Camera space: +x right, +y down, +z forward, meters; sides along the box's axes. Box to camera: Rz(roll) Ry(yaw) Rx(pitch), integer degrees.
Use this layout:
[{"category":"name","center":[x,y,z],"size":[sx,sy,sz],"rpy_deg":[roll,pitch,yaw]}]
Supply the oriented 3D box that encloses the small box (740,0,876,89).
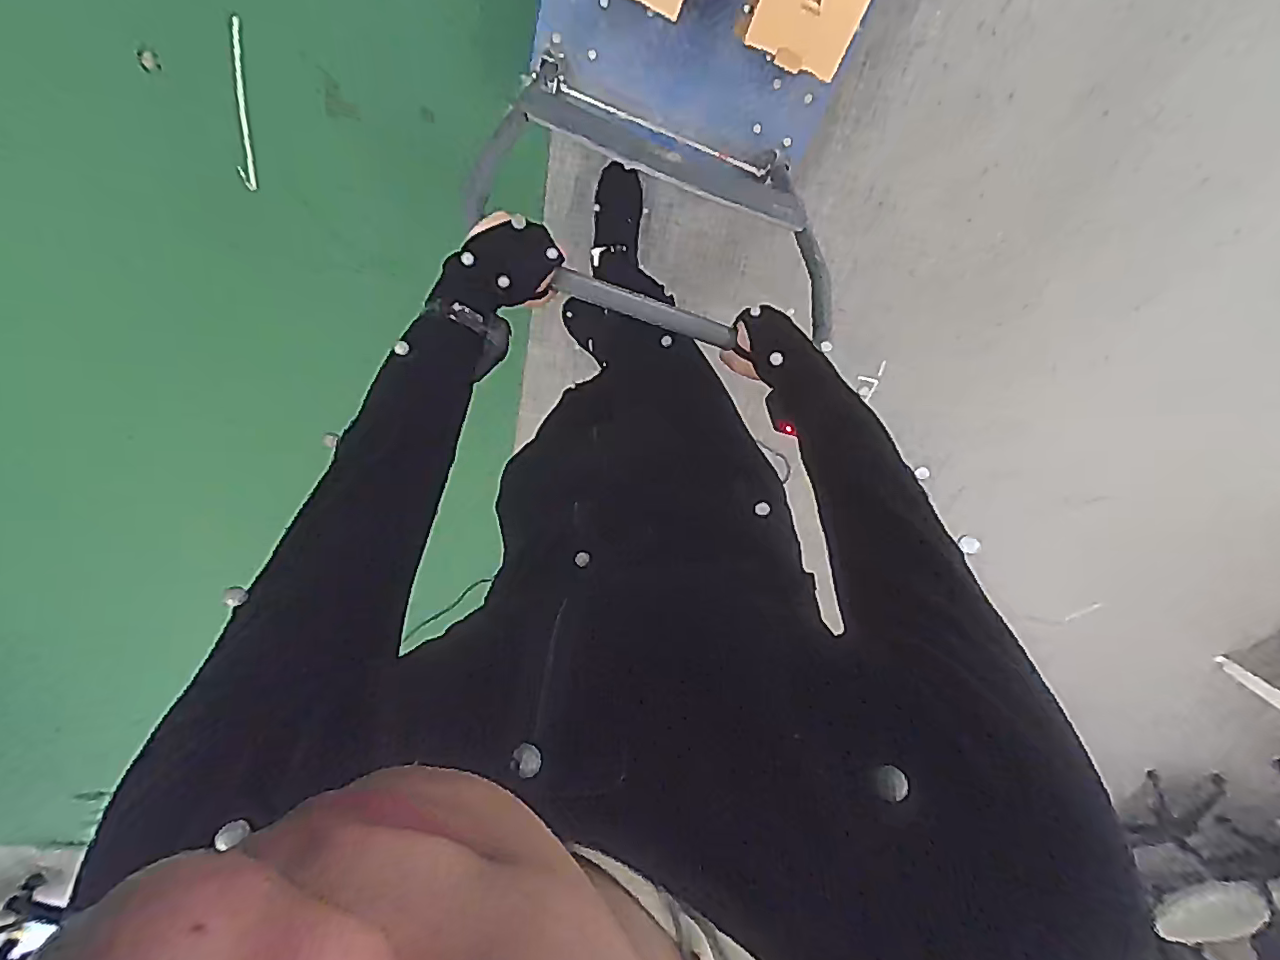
[{"category":"small box","center":[0.278,-0.798,0.899],"size":[0.168,0.176,0.179],"rpy_deg":[16,133,-13]}]
